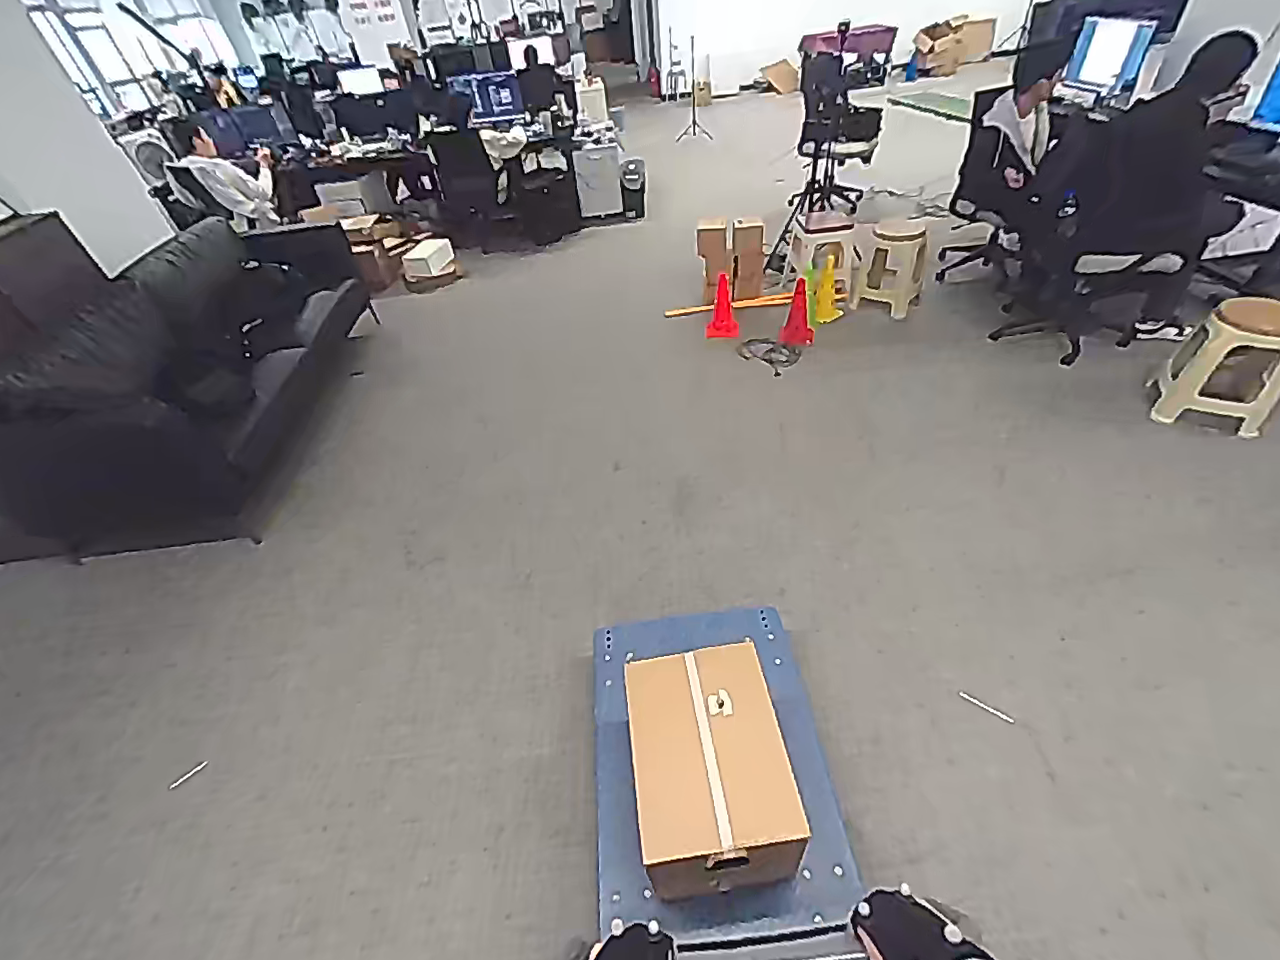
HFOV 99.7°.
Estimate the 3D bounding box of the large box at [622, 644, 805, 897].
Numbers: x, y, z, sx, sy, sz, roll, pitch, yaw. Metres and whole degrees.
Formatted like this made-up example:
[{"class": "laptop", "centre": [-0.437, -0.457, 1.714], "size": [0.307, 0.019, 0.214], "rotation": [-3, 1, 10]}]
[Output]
[{"class": "large box", "centre": [0.151, 0.654, 1.237], "size": [0.320, 0.320, 0.408], "rotation": [-9, 42, -1]}]
